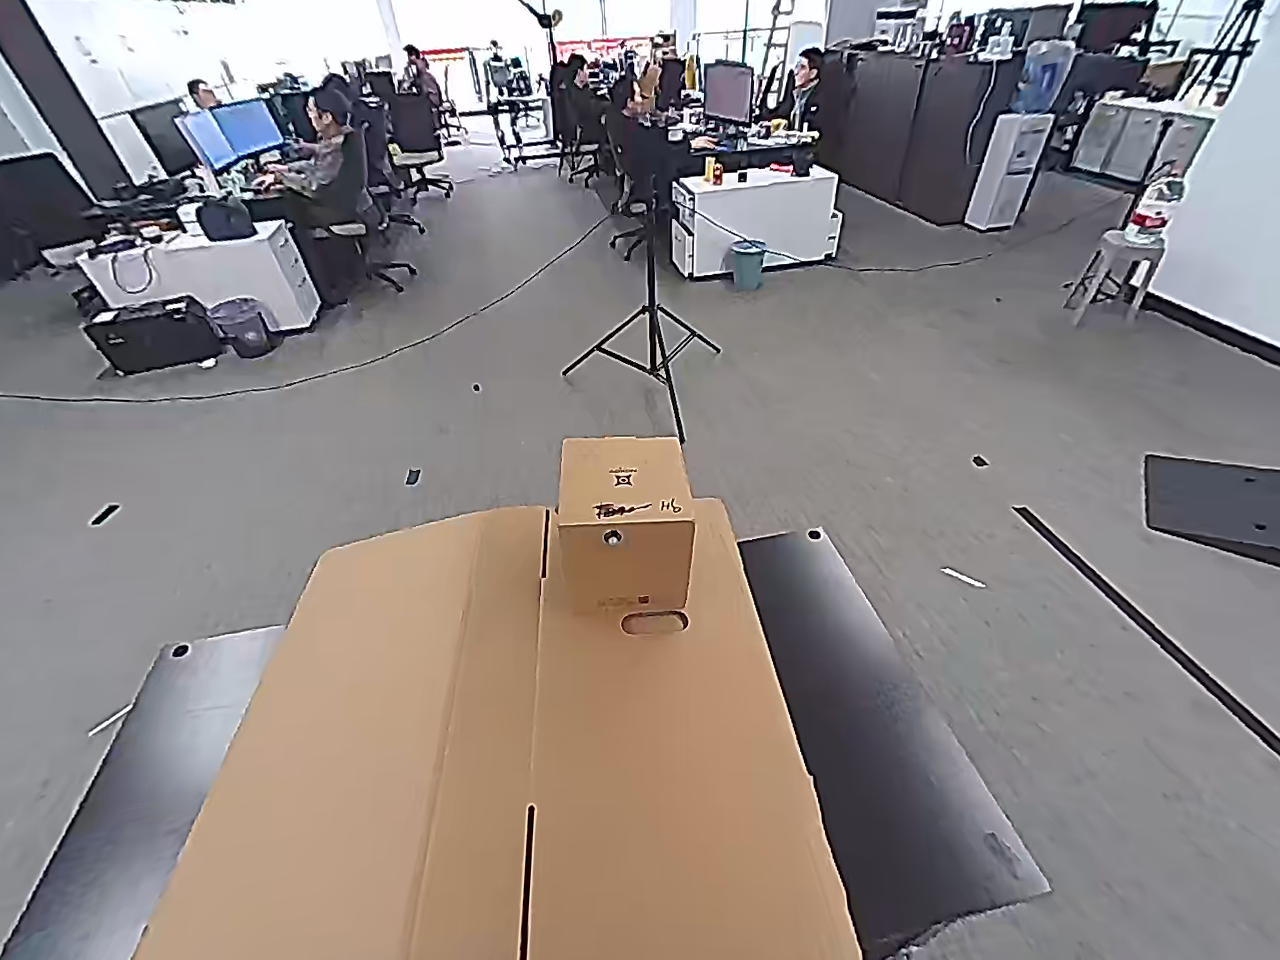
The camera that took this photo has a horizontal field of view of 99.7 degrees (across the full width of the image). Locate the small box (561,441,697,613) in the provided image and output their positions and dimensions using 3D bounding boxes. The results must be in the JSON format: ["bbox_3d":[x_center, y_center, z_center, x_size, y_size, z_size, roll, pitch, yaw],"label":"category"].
[{"bbox_3d":[-0.019,0.063,0.755,0.168,0.176,0.179,-2,39,-3],"label":"small box"}]
